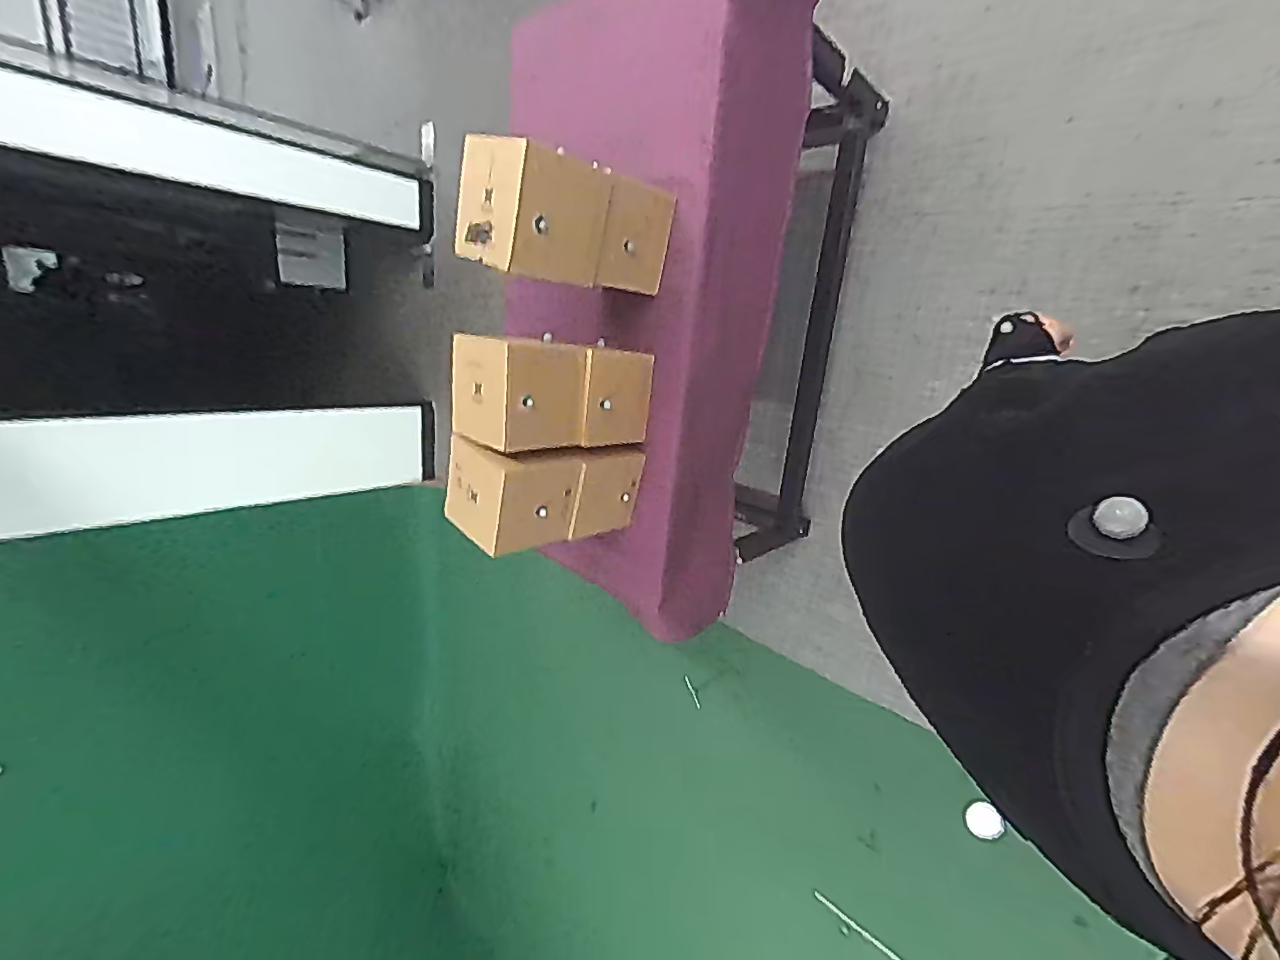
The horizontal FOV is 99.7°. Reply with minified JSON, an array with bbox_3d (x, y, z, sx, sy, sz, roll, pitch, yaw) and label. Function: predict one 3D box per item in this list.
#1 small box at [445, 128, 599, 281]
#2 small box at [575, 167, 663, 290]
[{"bbox_3d":[-0.186,-0.428,0.857,0.168,0.176,0.179,30,116,35],"label":"small box"},{"bbox_3d":[-0.079,-0.452,0.980,0.168,0.176,0.179,28,116,36],"label":"small box"}]
